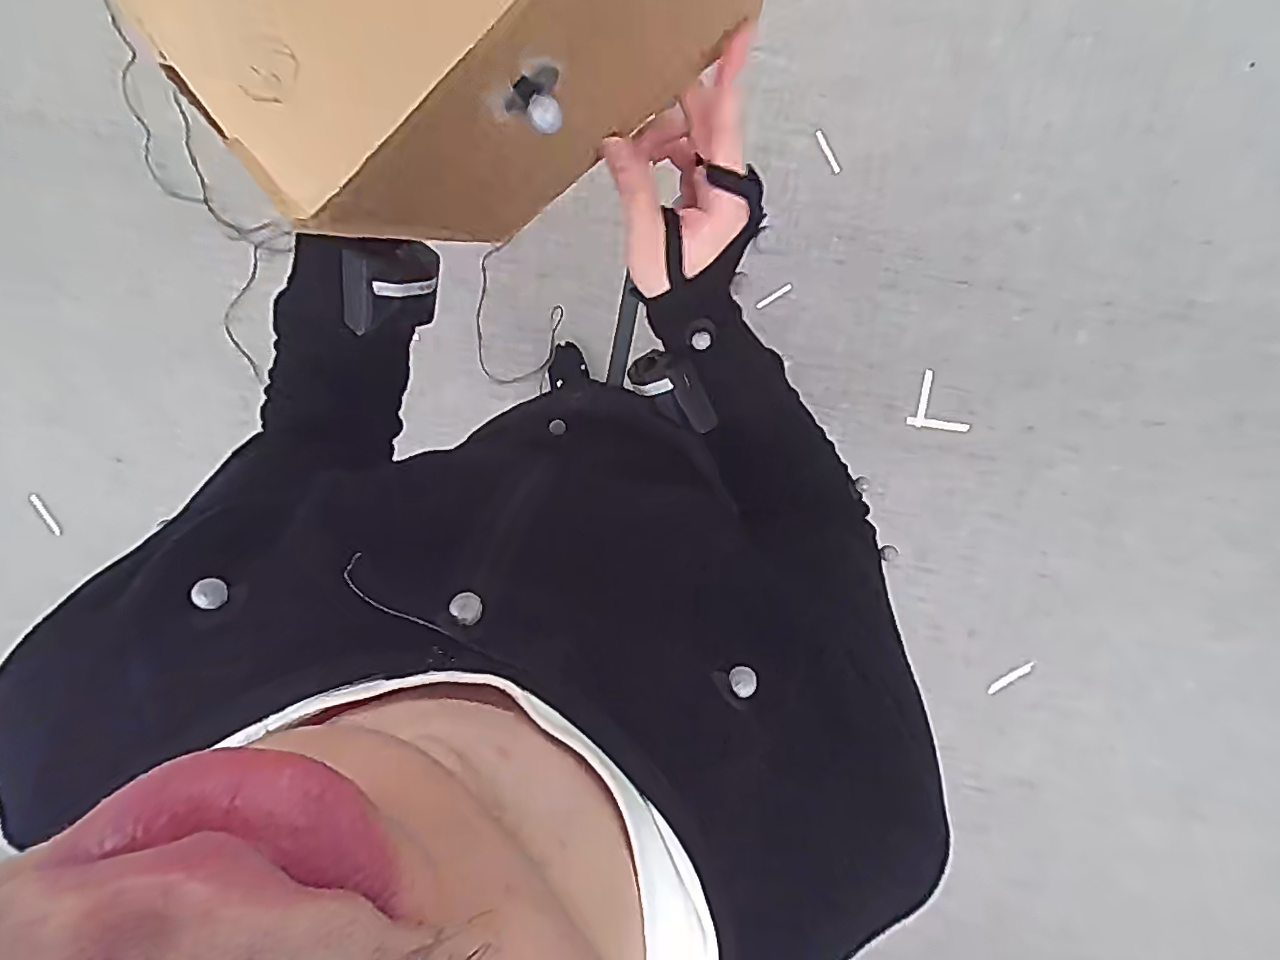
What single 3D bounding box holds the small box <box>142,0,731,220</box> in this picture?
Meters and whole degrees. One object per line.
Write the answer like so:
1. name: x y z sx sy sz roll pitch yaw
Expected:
1. small box: -0.074 -0.224 0.209 0.179 0.176 0.168 -31 104 21
